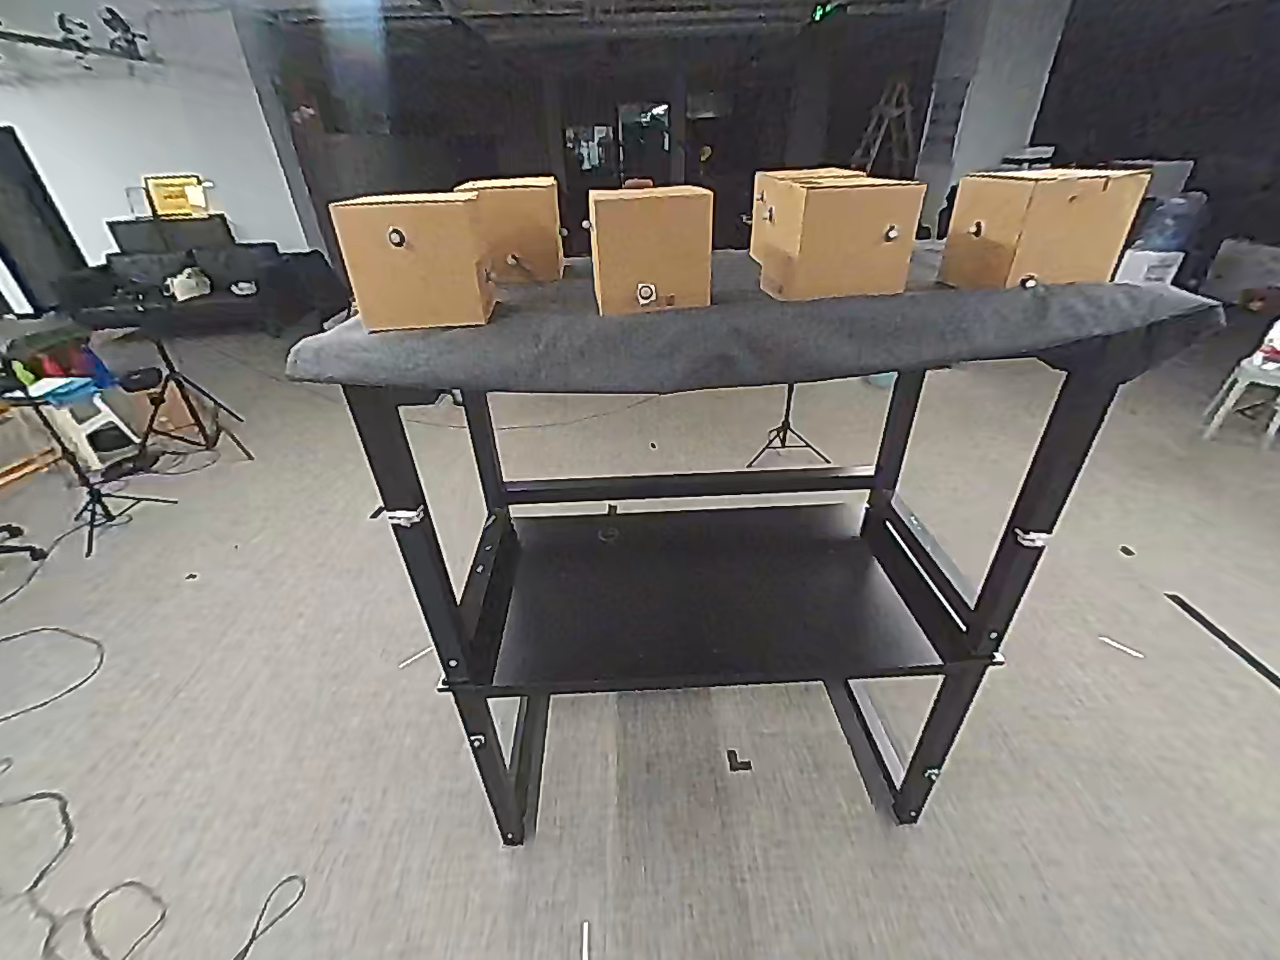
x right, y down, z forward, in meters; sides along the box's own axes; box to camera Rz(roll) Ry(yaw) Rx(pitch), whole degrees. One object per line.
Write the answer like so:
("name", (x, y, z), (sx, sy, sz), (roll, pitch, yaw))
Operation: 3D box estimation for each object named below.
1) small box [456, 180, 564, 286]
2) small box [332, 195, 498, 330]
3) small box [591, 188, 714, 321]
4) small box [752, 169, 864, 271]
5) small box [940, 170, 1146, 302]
("small box", (-0.246, -0.491, 1.073), (0.179, 0.176, 0.168), (-3, 32, -3))
("small box", (-0.324, -0.330, 0.818), (0.179, 0.176, 0.168), (-4, 31, -6))
("small box", (0.013, -0.351, 0.837), (0.168, 0.176, 0.179), (-6, 31, -4))
("small box", (0.330, -0.525, 1.096), (0.168, 0.176, 0.179), (-4, 32, -2))
("small box", (0.609, -0.380, 0.846), (0.168, 0.176, 0.179), (-5, 31, -3))
